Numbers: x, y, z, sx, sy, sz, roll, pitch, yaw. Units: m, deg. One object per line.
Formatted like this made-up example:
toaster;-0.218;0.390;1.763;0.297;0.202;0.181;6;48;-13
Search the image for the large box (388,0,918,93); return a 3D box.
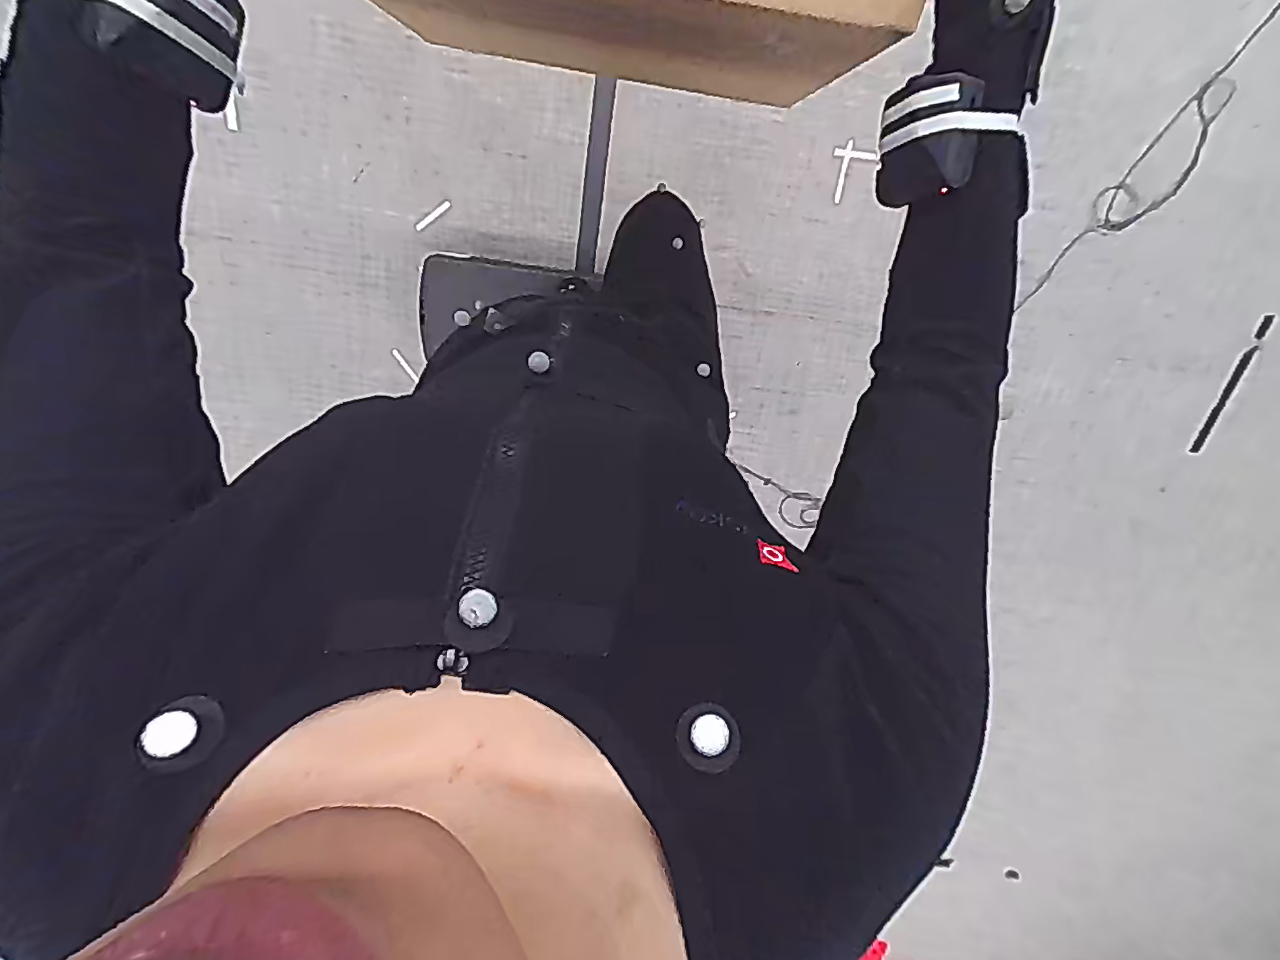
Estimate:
large box;-0.007;-0.515;0.389;0.408;0.320;0.320;6;118;-4
